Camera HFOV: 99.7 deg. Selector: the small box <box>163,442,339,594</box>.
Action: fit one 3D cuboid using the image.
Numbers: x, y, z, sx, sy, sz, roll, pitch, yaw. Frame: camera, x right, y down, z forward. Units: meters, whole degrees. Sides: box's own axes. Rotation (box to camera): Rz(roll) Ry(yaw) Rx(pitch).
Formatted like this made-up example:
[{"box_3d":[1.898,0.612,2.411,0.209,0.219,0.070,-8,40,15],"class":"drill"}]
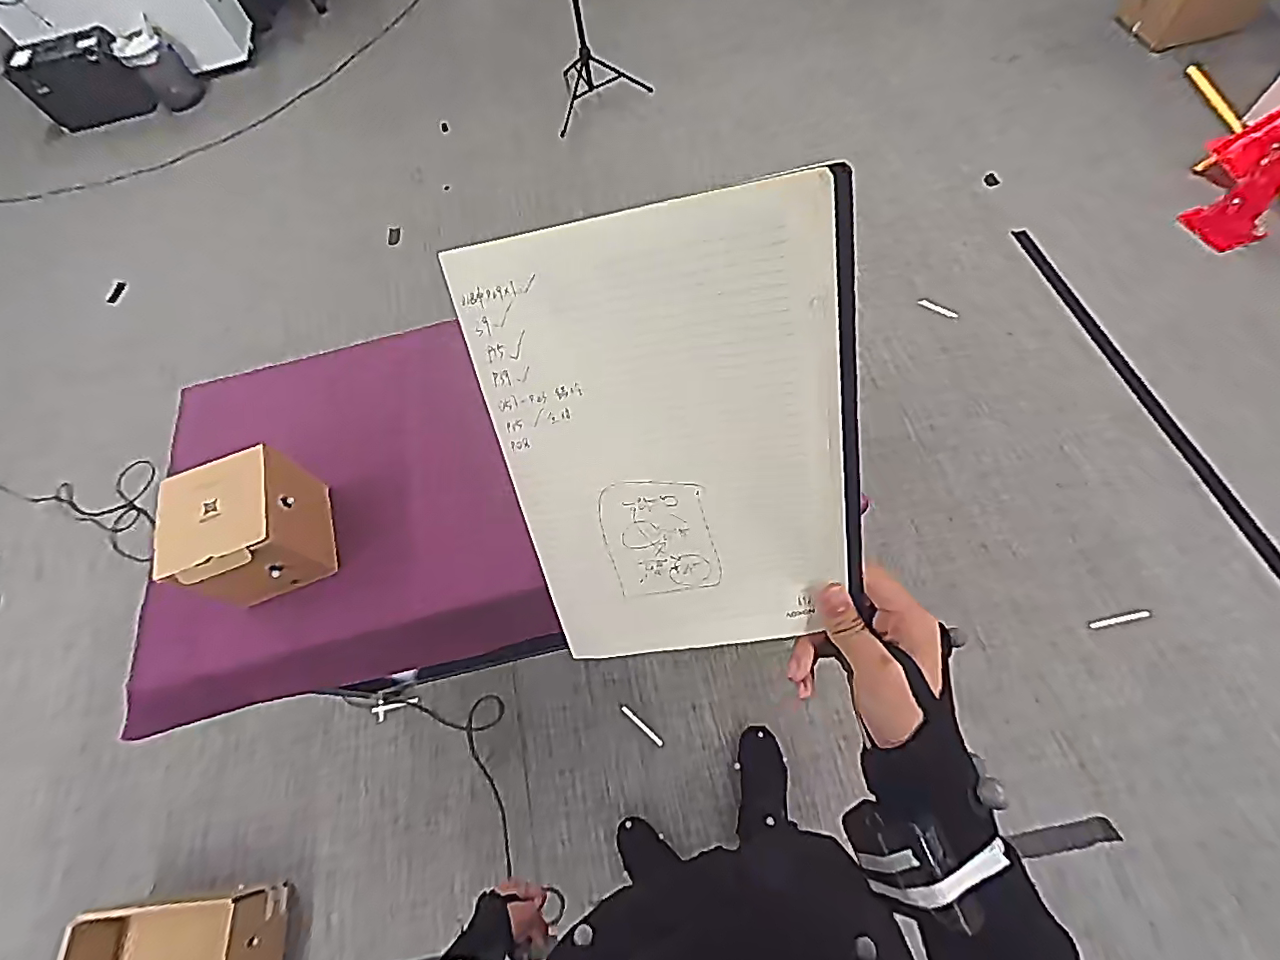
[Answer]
[{"box_3d":[-0.614,0.072,0.873,0.168,0.176,0.179,-20,64,-3],"class":"small box"}]
